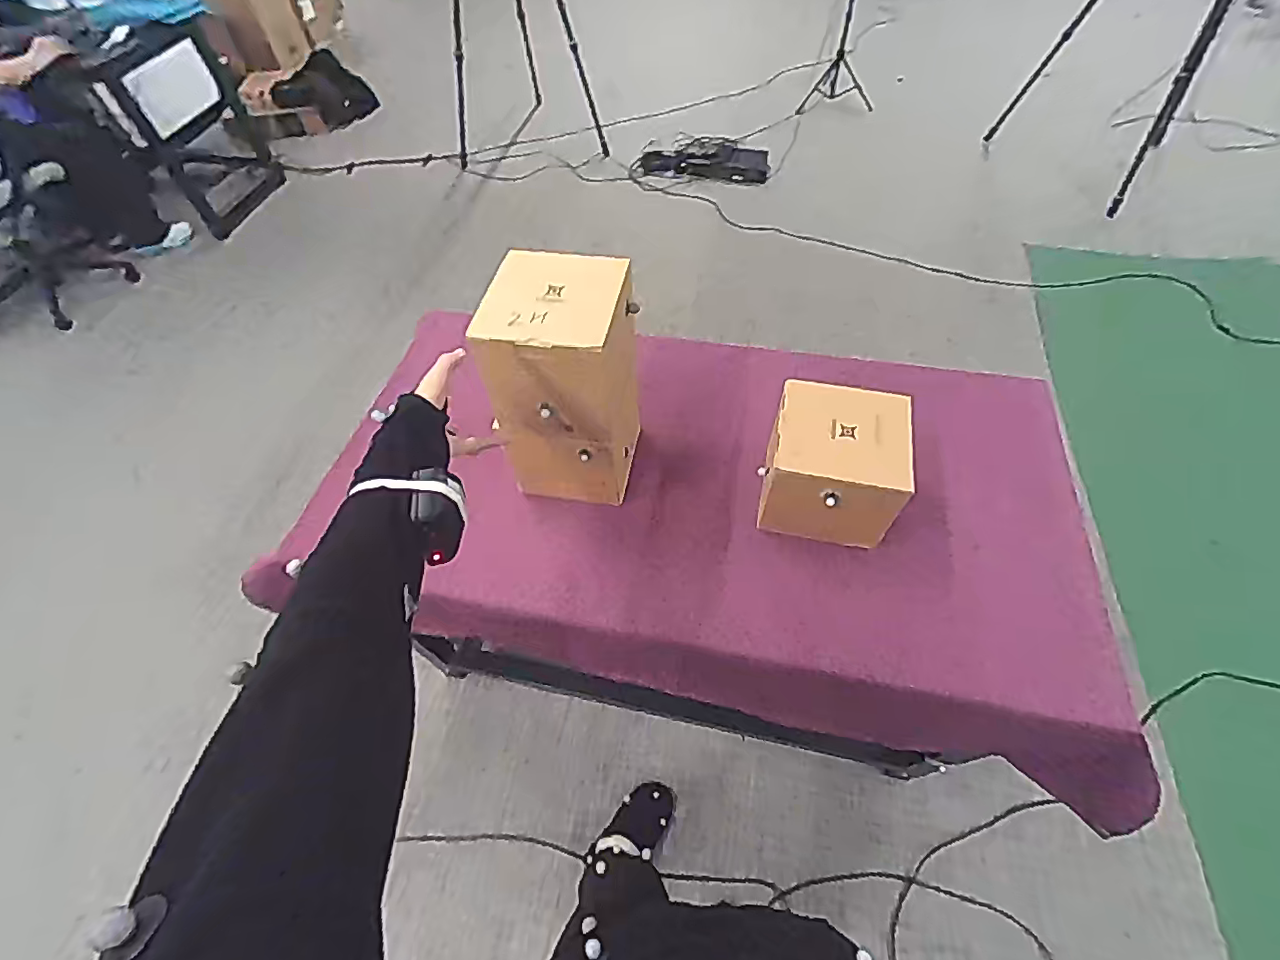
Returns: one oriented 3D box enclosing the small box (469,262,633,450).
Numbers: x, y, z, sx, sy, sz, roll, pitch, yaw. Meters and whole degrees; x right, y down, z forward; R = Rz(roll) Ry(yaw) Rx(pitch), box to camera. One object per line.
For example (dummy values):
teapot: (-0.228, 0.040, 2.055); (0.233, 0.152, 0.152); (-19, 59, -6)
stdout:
small box: (-0.103, -0.166, 0.731); (0.168, 0.176, 0.179); (7, 55, 8)

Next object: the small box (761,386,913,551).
small box: (0.281, -0.012, 0.798); (0.179, 0.176, 0.168); (10, 57, 10)

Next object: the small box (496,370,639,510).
small box: (-0.103, -0.068, 0.865); (0.179, 0.176, 0.168); (7, 56, 7)
